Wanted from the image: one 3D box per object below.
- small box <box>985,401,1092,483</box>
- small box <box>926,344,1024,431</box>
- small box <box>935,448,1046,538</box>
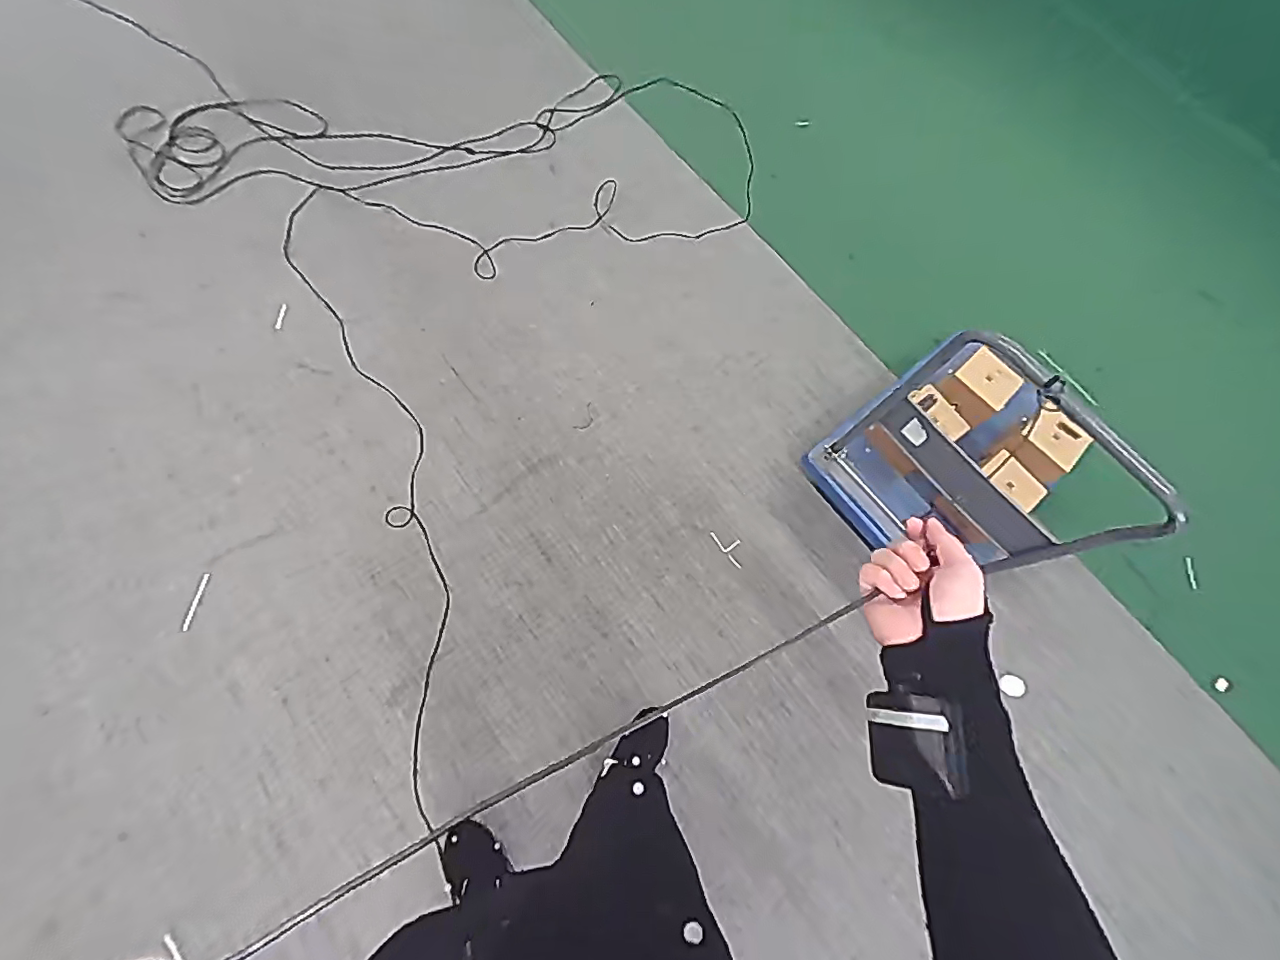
[{"bbox_3d":[1.210,-0.102,1.656,0.179,0.176,0.168,-39,78,-20],"label":"small box"},{"bbox_3d":[1.041,-0.283,1.700,0.179,0.176,0.168,-39,80,-21],"label":"small box"},{"bbox_3d":[1.002,0.042,1.562,0.179,0.176,0.168,-34,78,-19],"label":"small box"}]
